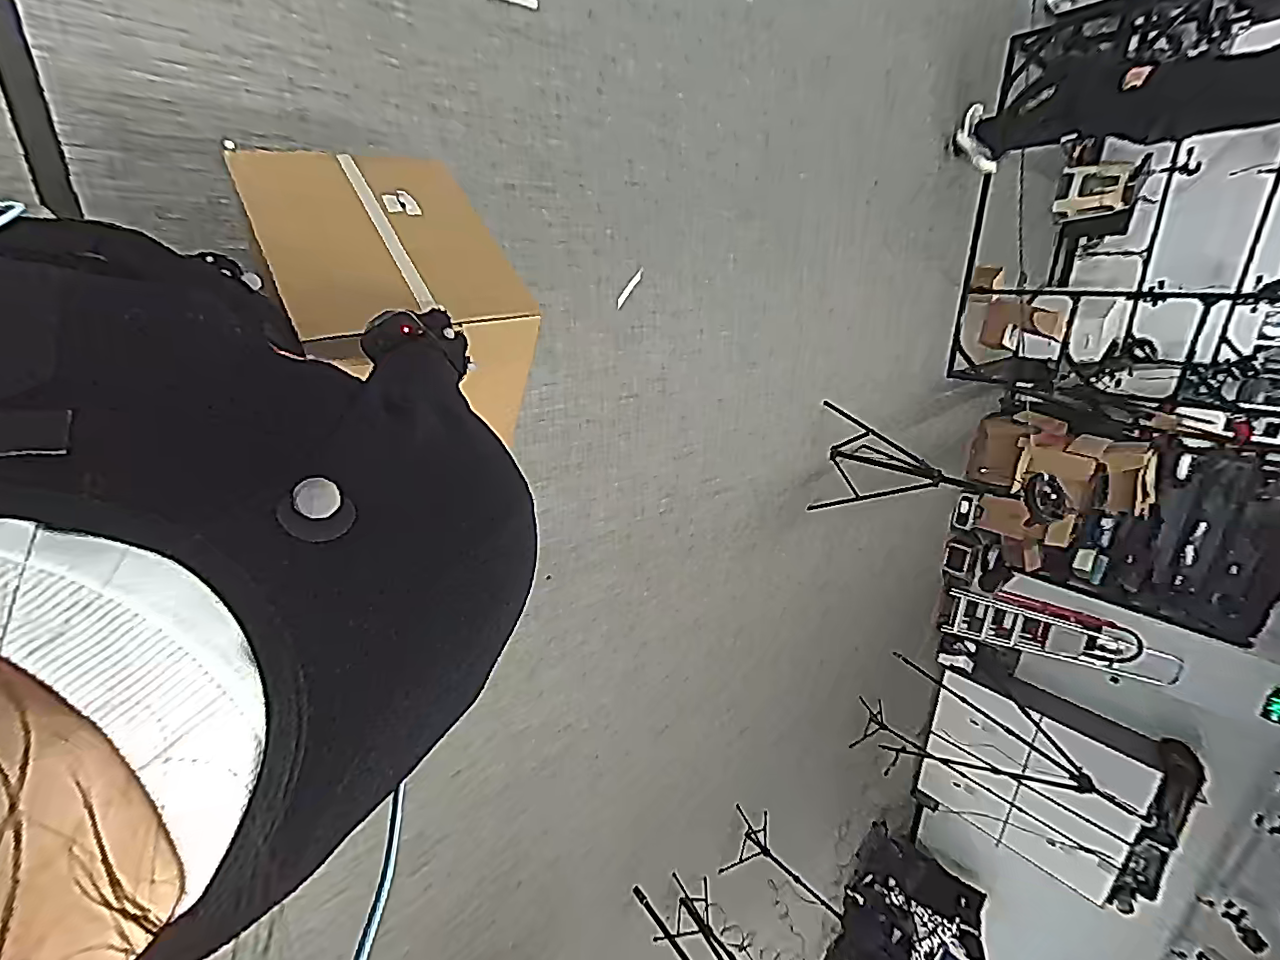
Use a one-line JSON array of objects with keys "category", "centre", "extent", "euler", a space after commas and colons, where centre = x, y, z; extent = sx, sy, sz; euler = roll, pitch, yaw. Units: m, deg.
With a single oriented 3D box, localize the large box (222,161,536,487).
[{"category": "large box", "centre": [-0.424, -0.263, 0.902], "extent": [0.320, 0.408, 0.320], "euler": [-19, 153, -35]}]
